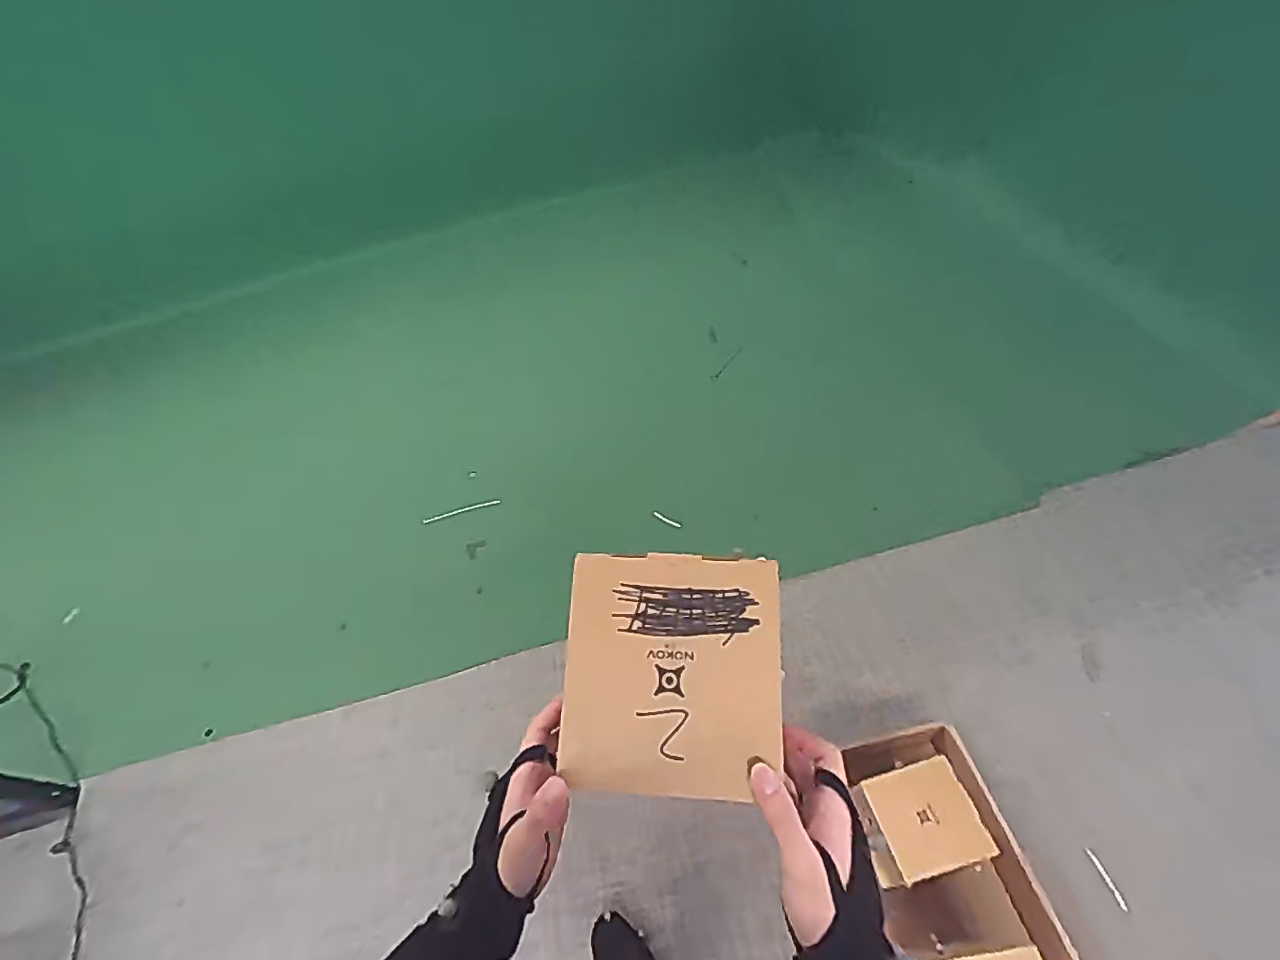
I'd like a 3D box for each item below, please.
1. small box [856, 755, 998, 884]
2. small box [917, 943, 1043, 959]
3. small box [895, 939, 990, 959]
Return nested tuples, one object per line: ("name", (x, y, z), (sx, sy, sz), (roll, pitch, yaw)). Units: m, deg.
("small box", (0.536, 0.660, 1.046), (0.179, 0.176, 0.168), (-17, 51, -1))
("small box", (0.569, 0.868, 0.871), (0.179, 0.176, 0.168), (-12, 51, 3))
("small box", (0.595, 0.972, 0.994), (0.168, 0.176, 0.179), (-12, 50, 3))
